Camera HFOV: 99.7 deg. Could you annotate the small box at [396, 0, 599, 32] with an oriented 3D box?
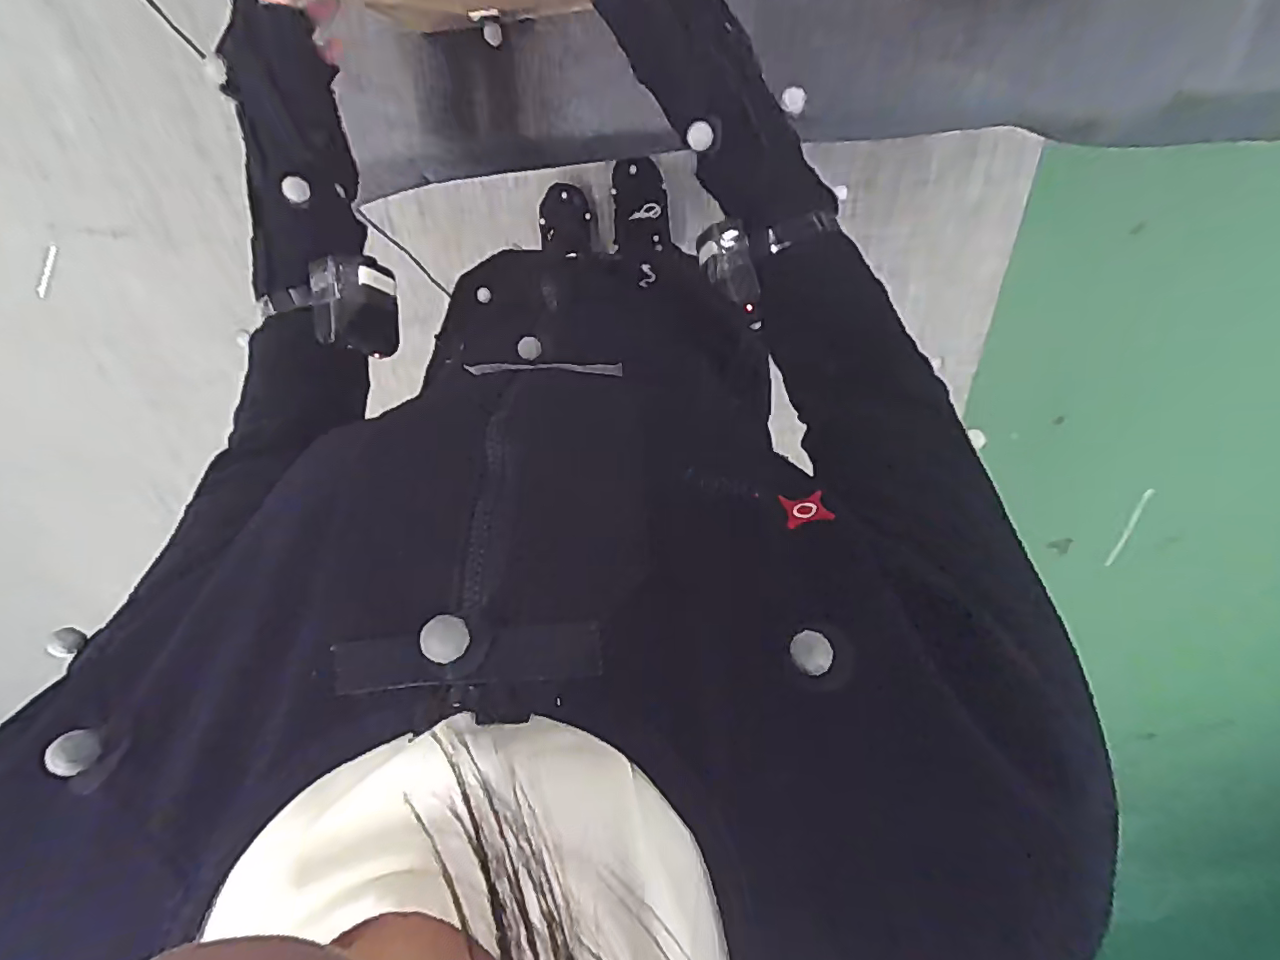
[{"bbox_3d":[-0.116,-0.430,0.354,0.168,0.176,0.179,-8,122,3],"label":"small box"}]
